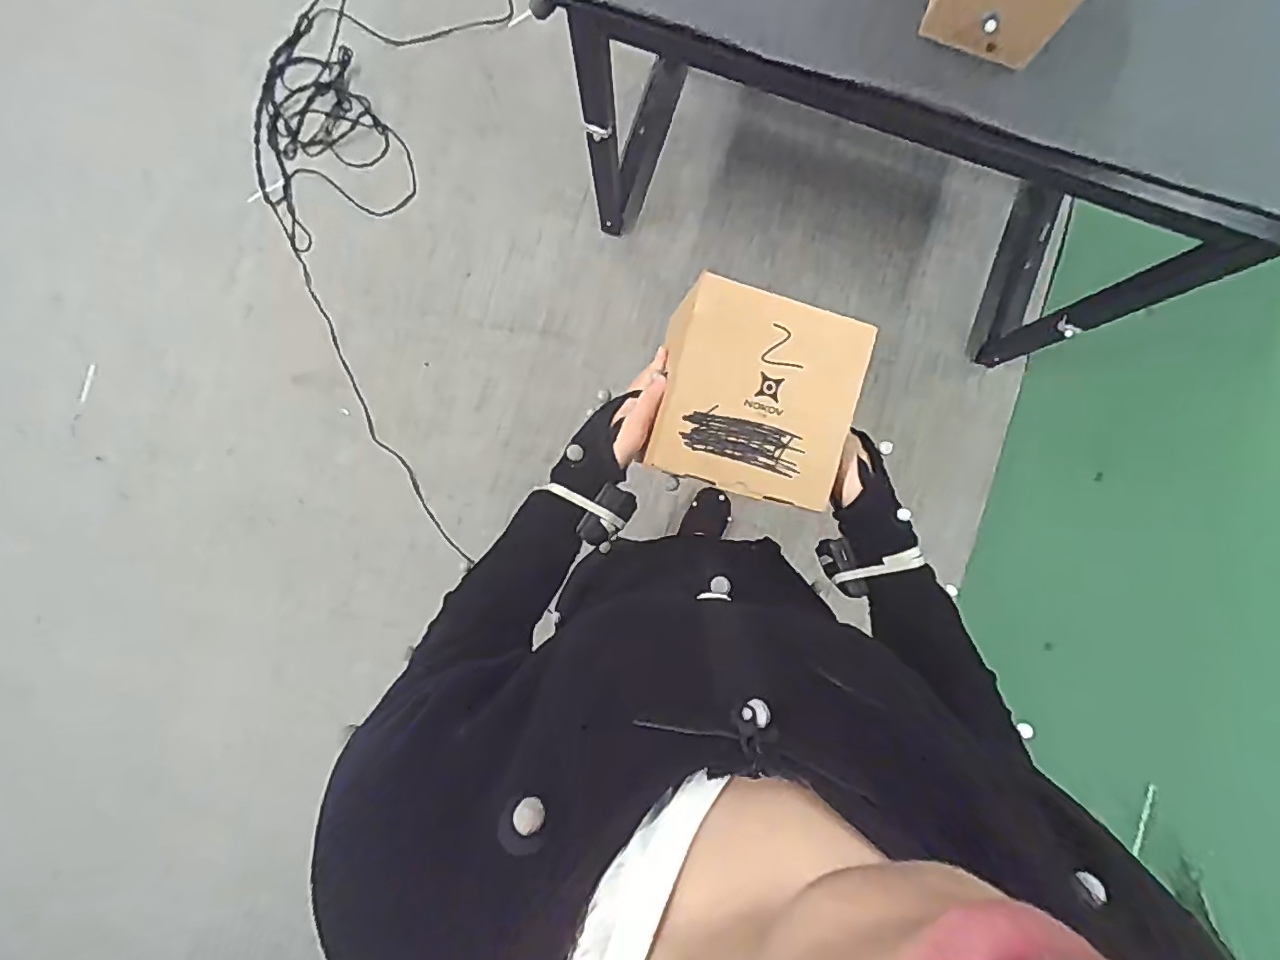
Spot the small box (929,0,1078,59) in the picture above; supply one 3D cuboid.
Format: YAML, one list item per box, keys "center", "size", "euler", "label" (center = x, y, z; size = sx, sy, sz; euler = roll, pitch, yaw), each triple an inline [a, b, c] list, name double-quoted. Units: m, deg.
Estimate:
- center: [0.521, -0.726, 0.719]
  size: [0.168, 0.176, 0.179]
  euler: [20, 88, 2]
  label: "small box"
